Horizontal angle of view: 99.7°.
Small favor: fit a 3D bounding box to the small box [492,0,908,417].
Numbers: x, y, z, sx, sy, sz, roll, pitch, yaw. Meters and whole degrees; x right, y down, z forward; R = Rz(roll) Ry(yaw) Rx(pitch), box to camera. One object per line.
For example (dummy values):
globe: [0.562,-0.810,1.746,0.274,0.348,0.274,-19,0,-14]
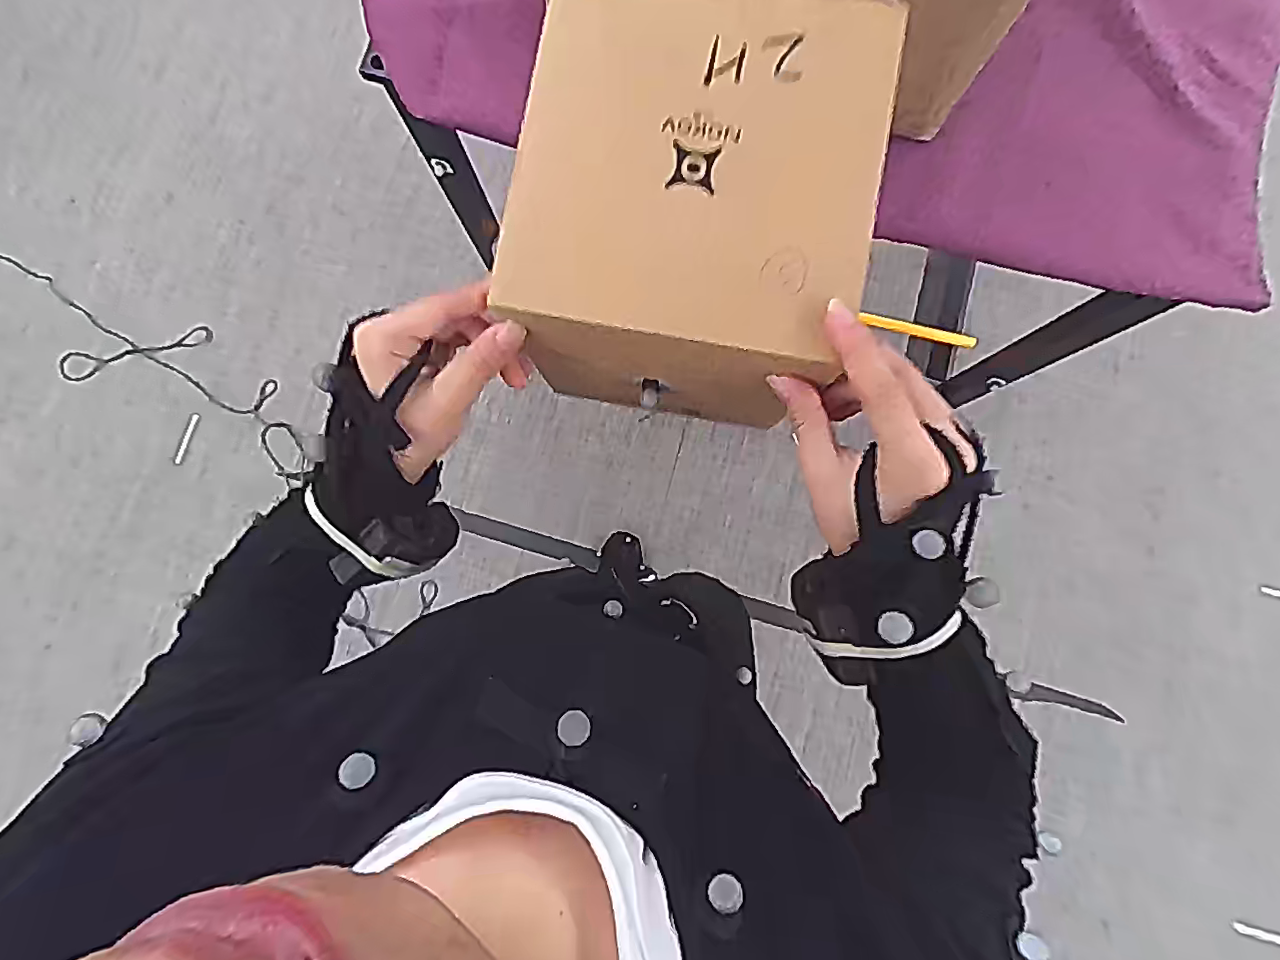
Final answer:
small box: [0.030,-0.145,0.326,0.168,0.176,0.179,11,86,2]
